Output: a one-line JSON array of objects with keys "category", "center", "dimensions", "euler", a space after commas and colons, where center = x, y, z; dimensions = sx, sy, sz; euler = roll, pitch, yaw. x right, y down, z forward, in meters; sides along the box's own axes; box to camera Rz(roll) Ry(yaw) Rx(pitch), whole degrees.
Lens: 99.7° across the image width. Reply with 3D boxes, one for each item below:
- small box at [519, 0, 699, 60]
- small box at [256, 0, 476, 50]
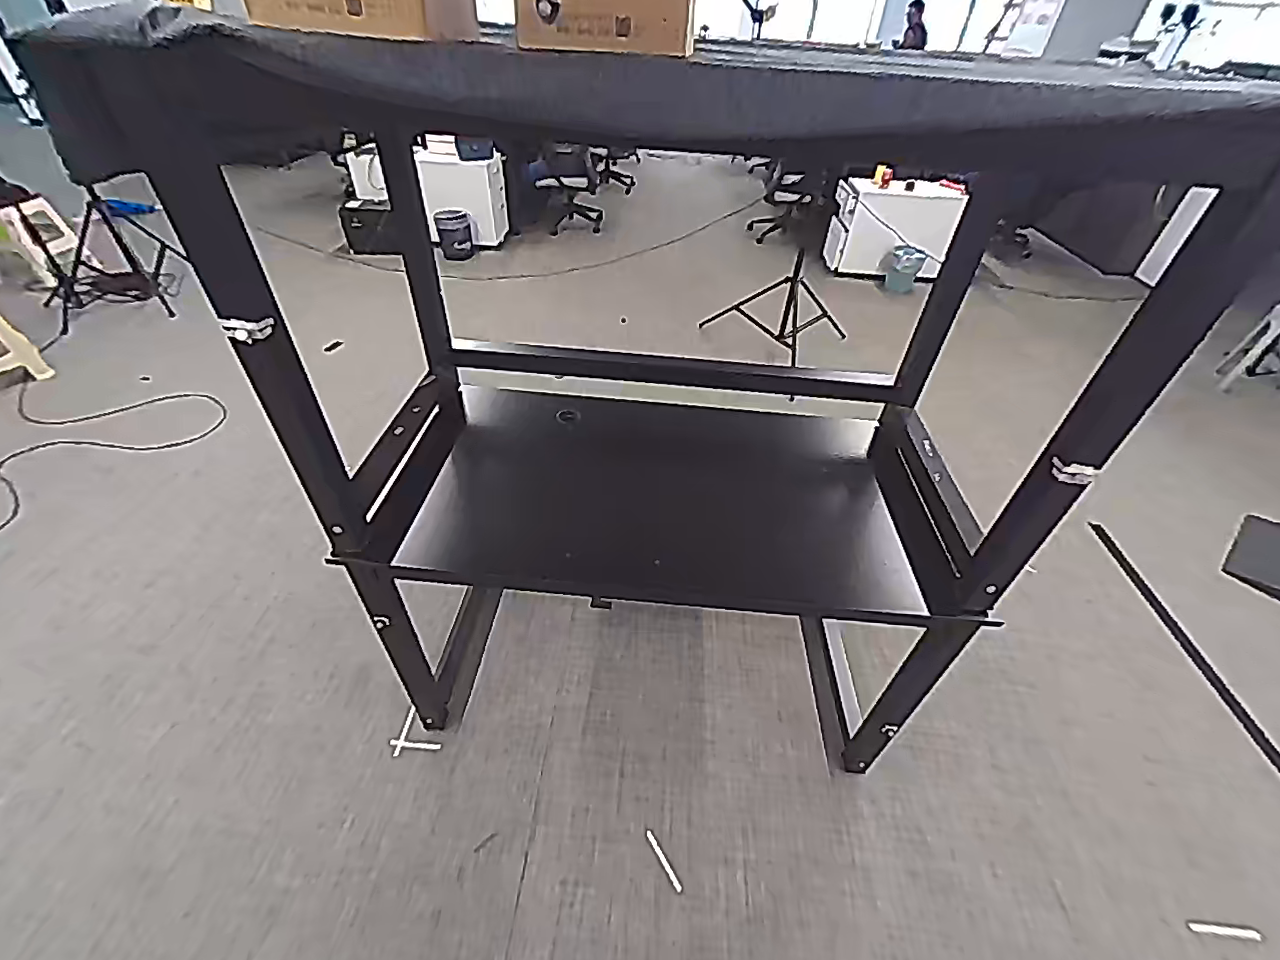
[{"category": "small box", "center": [-0.023, -0.521, 0.530], "dimensions": [0.168, 0.176, 0.179], "euler": [6, 38, 3]}, {"category": "small box", "center": [-0.267, -0.523, 0.517], "dimensions": [0.168, 0.176, 0.179], "euler": [5, 39, 0]}]
